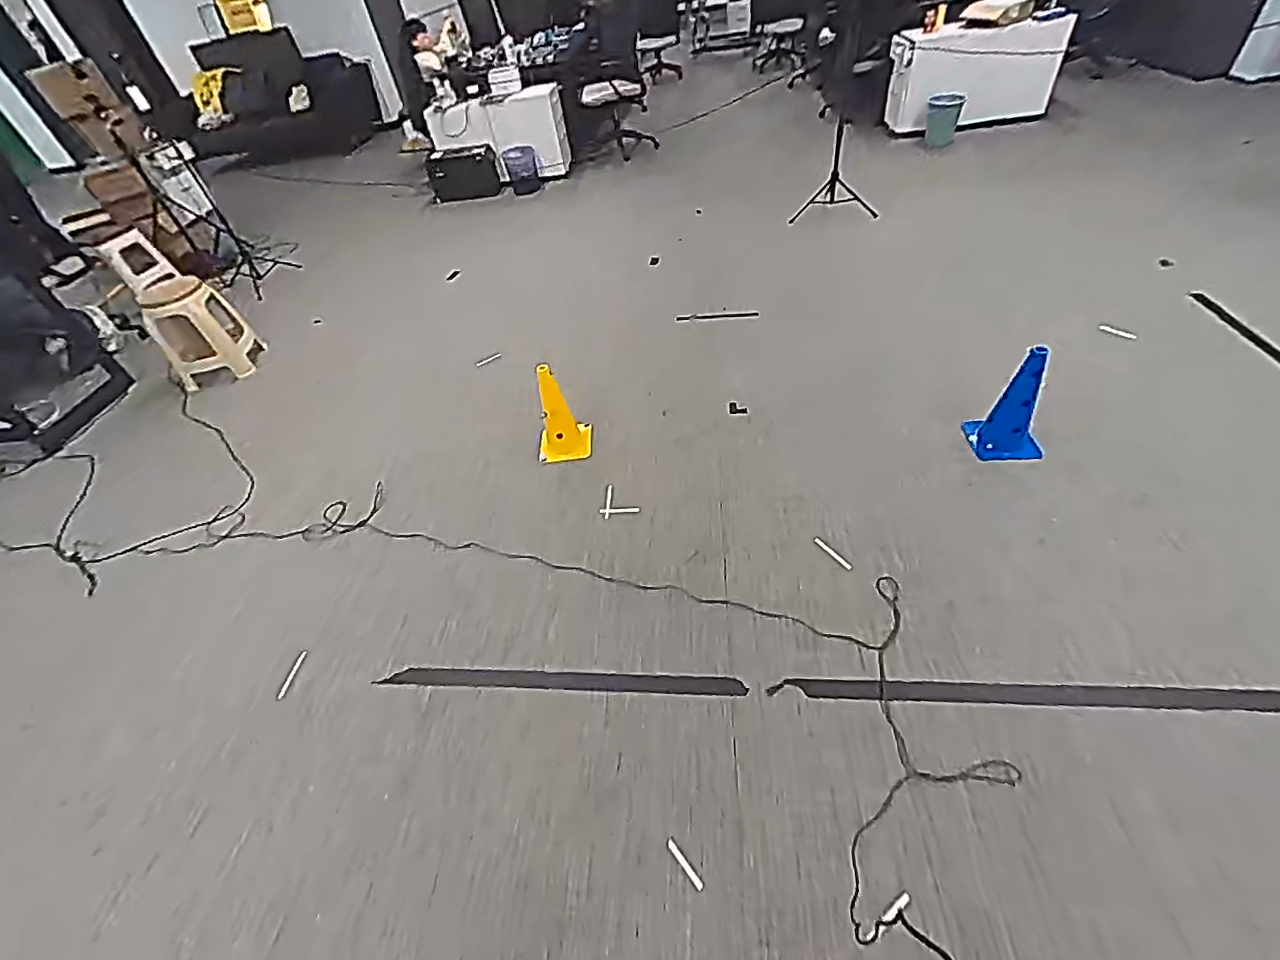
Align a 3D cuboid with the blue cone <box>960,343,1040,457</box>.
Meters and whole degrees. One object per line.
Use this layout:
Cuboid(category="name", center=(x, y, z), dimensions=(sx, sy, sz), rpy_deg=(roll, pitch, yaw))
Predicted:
Cuboid(category="blue cone", center=(1.200, -0.260, 1.736), dimensions=(0.193, 0.380, 0.192), rpy_deg=(-2, 44, 9))
